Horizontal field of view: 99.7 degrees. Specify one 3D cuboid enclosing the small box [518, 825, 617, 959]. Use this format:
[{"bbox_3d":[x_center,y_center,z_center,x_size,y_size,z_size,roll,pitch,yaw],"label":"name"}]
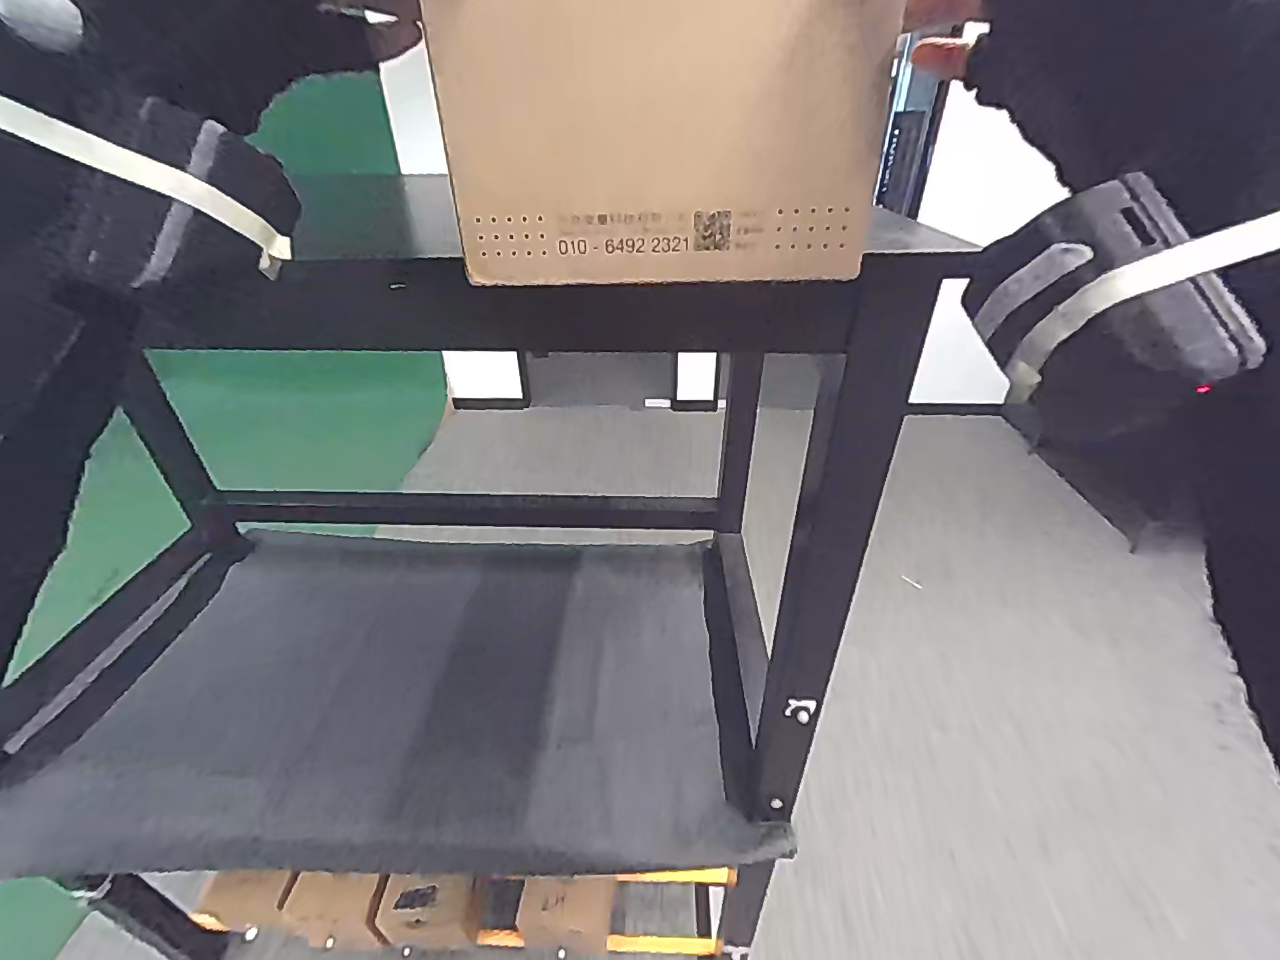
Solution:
[{"bbox_3d":[-0.143,0.868,1.140,0.168,0.176,0.179,3,36,7],"label":"small box"}]
